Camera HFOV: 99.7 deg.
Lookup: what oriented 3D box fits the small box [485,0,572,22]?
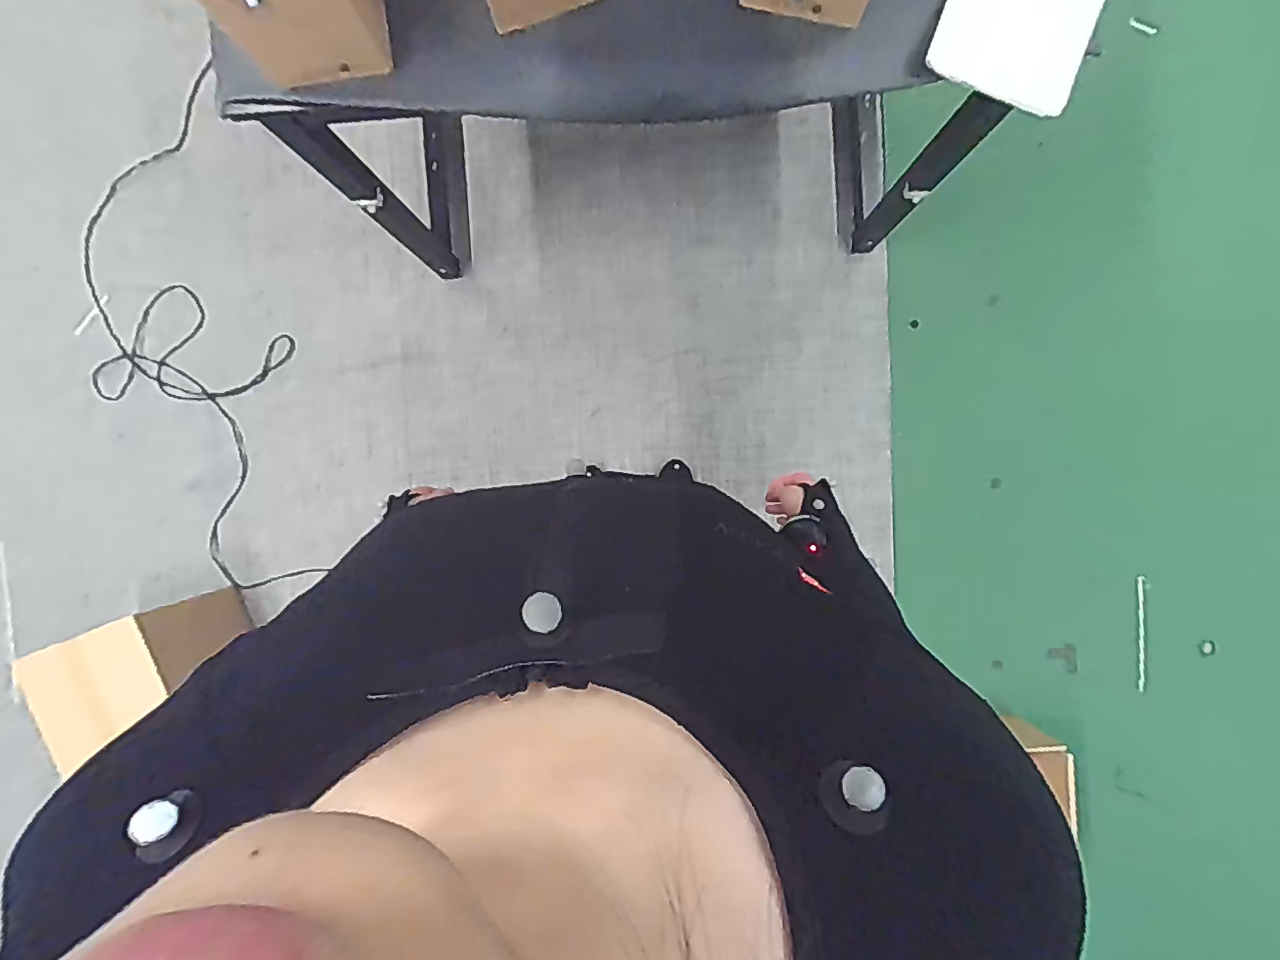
[{"bbox_3d":[-0.148,-0.727,0.667,0.179,0.176,0.168,-19,92,1],"label":"small box"}]

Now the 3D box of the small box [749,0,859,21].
[{"bbox_3d":[0.224,-0.722,0.654,0.168,0.176,0.179,13,92,2],"label":"small box"}]

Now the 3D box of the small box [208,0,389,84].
[{"bbox_3d":[-0.441,-0.648,0.676,0.168,0.176,0.179,-8,92,1],"label":"small box"}]
